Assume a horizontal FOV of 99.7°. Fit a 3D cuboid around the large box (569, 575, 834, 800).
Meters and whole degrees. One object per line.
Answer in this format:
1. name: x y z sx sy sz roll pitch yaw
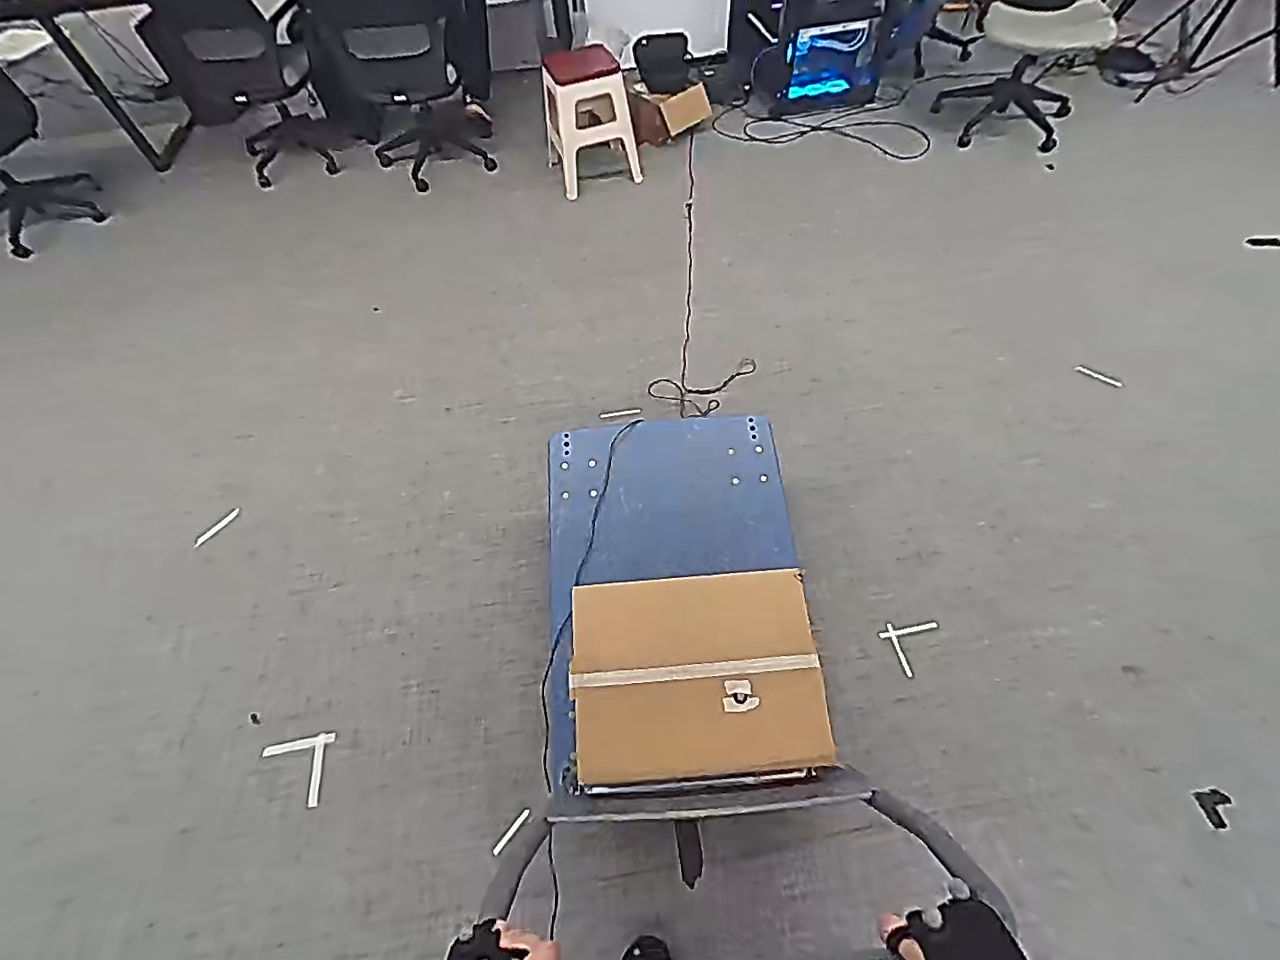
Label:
1. large box: 0.091 0.382 1.019 0.408 0.320 0.320 -5 69 -1
